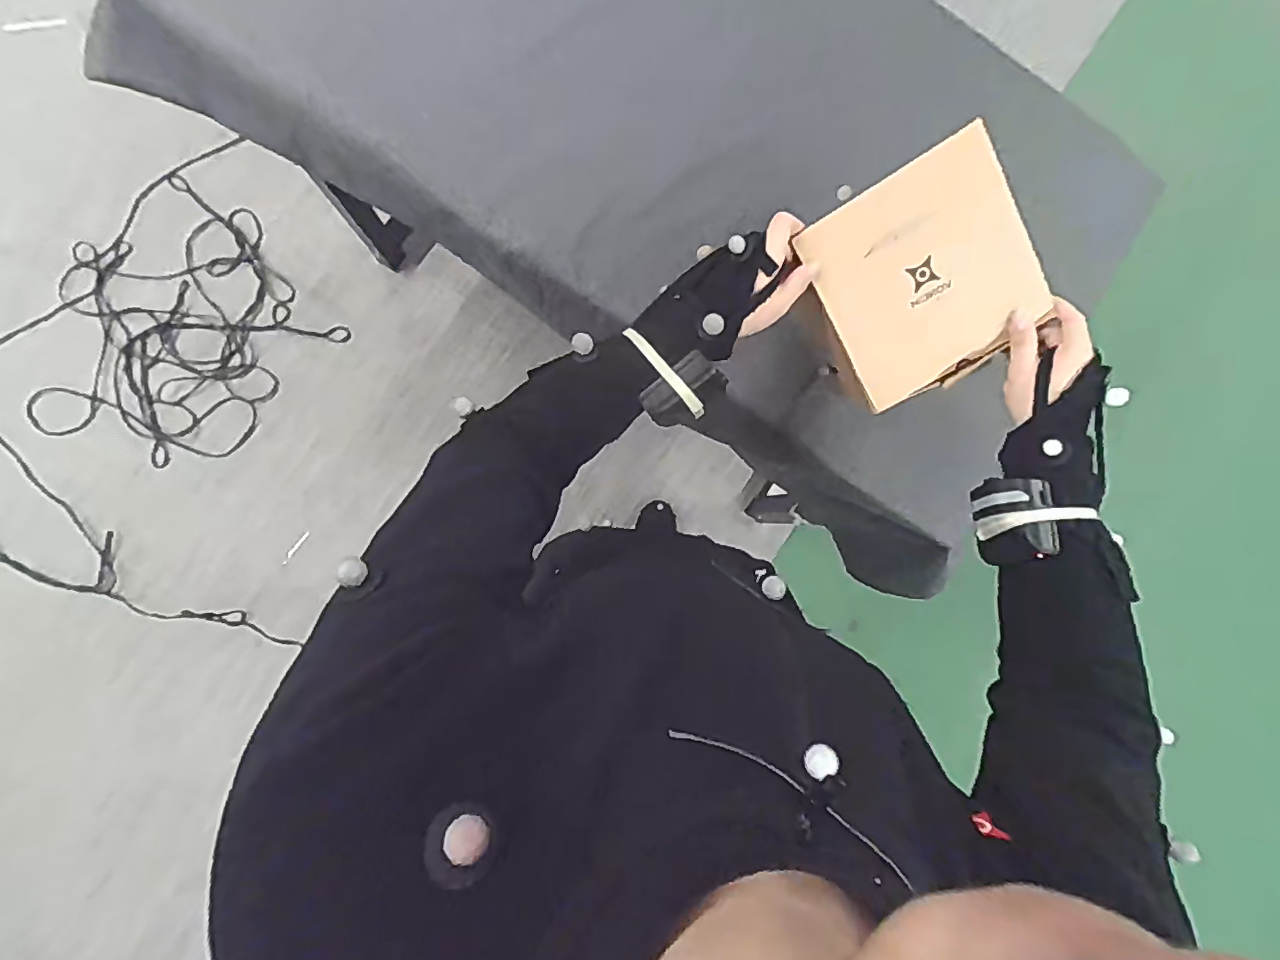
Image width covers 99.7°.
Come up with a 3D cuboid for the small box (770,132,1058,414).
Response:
[{"bbox_3d":[0.250,-0.190,0.537,0.168,0.176,0.179,-31,101,11],"label":"small box"}]
